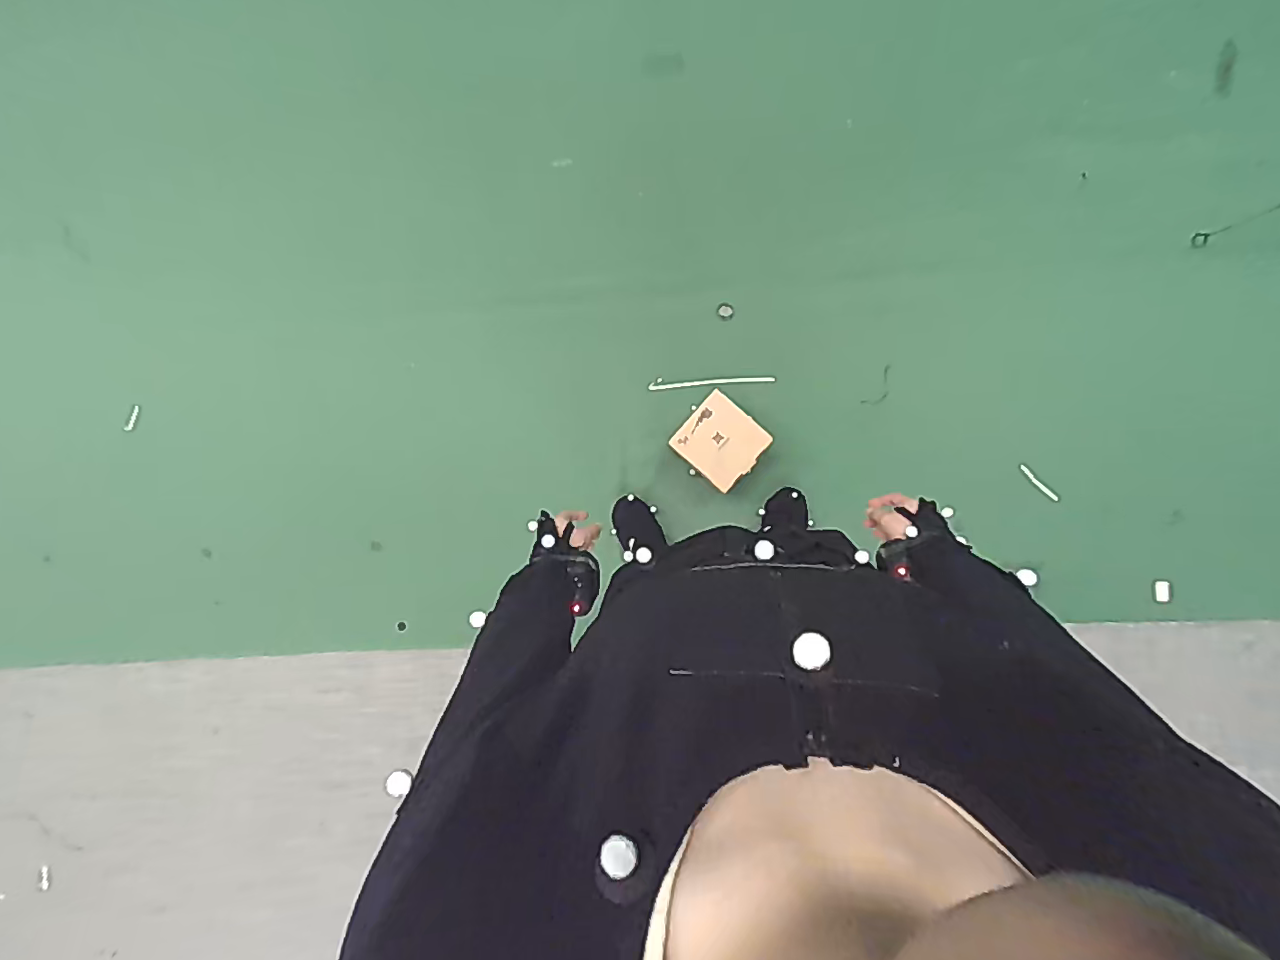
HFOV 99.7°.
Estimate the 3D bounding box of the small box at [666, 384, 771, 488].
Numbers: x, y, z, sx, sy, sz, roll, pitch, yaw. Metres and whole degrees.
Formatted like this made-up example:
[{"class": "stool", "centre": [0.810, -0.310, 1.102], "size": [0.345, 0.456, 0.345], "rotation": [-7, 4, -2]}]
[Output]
[{"class": "small box", "centre": [0.181, -0.102, 1.278], "size": [0.179, 0.176, 0.168], "rotation": [42, 94, 3]}]
